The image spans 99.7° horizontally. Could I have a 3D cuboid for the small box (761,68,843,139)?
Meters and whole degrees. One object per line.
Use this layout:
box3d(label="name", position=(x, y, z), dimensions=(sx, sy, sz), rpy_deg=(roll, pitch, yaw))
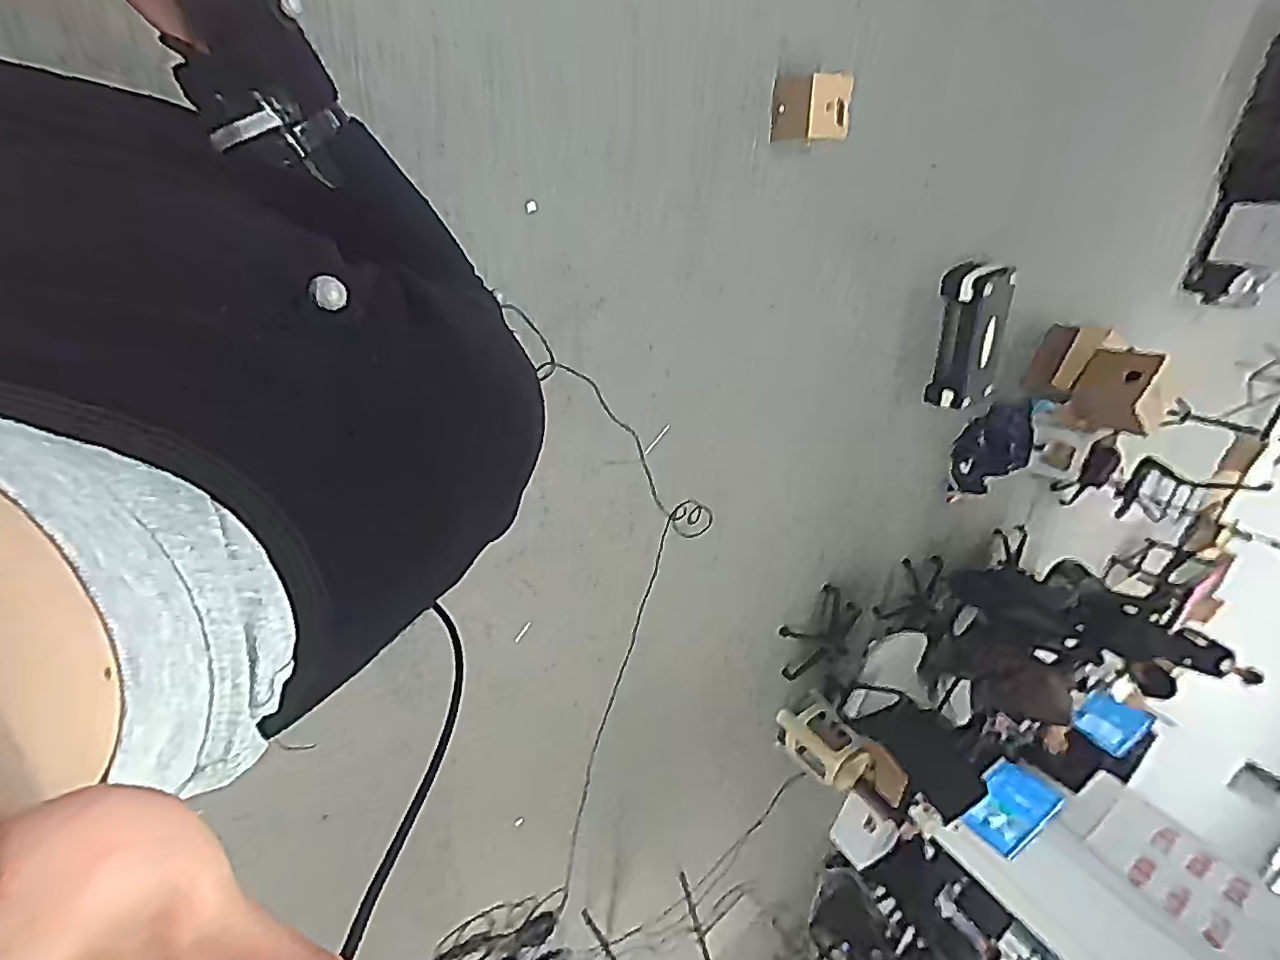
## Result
box3d(label="small box", position=(0.512, -1.194, 1.724), dimensions=(0.179, 0.176, 0.168), rpy_deg=(-18, 122, -26))
